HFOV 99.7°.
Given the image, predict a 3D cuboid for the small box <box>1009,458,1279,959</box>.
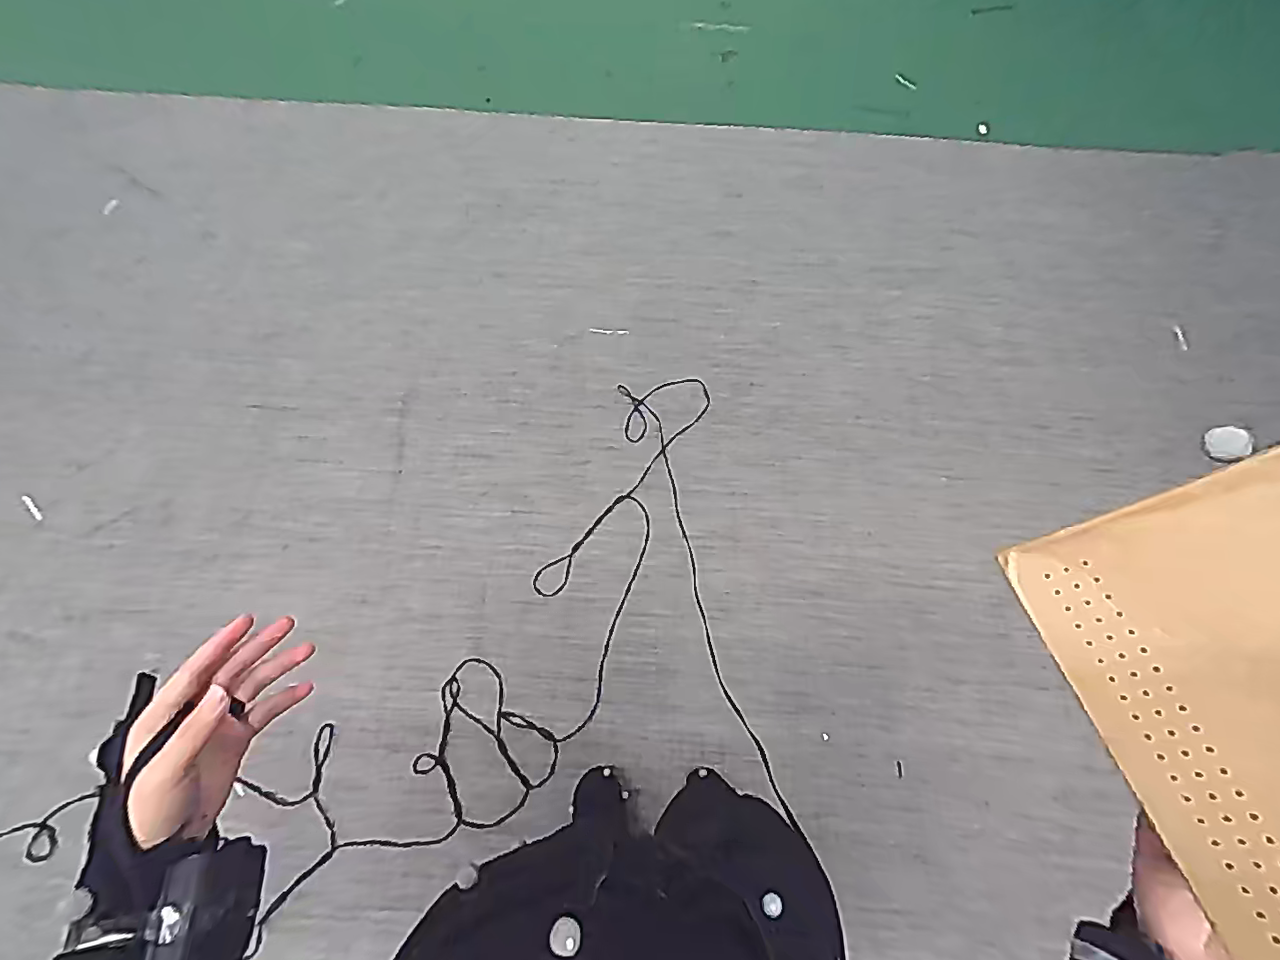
[{"bbox_3d":[0.278,0.073,0.191,0.168,0.176,0.179,-1,61,-40],"label":"small box"}]
